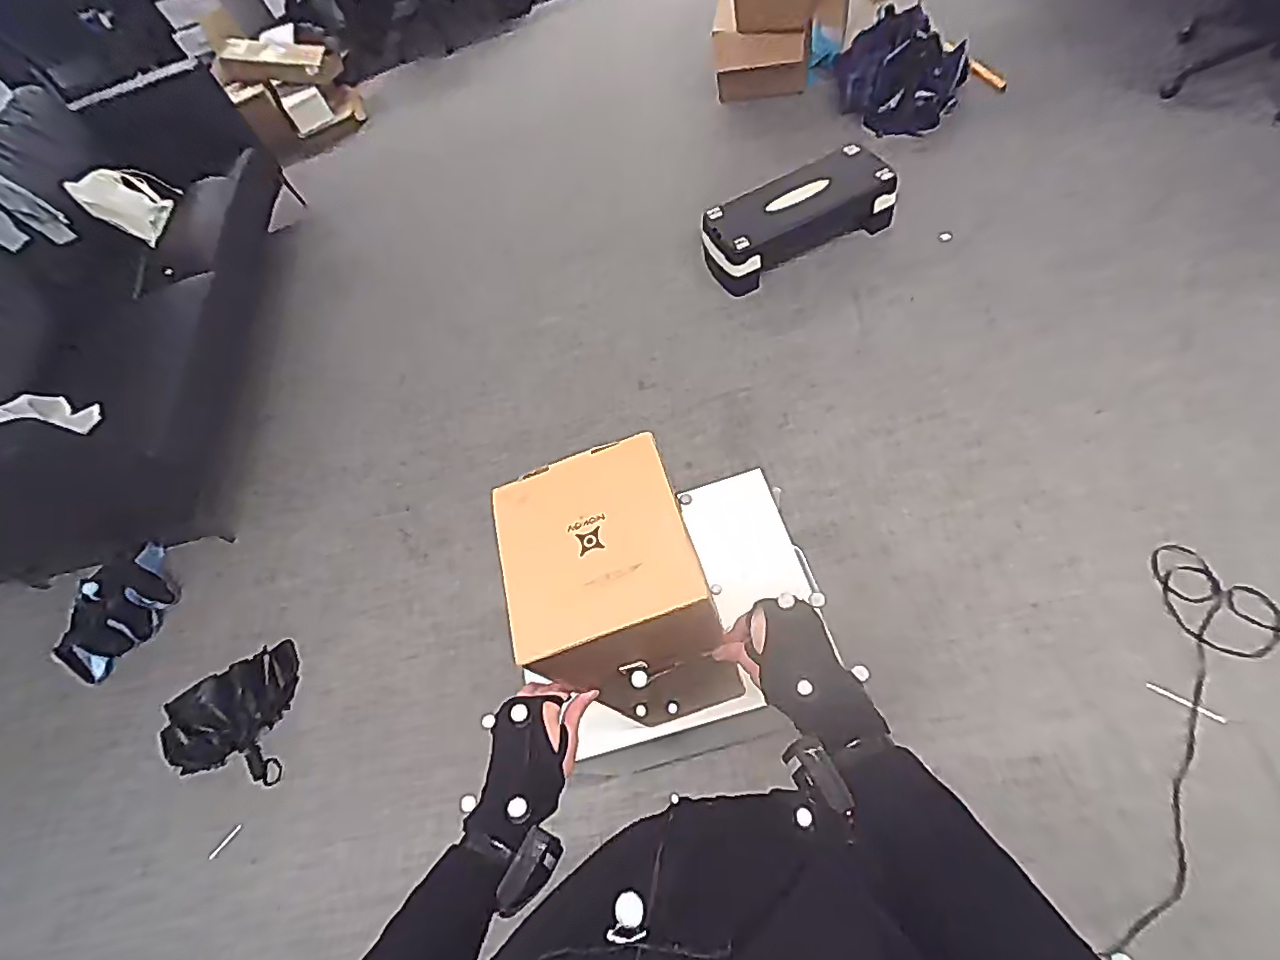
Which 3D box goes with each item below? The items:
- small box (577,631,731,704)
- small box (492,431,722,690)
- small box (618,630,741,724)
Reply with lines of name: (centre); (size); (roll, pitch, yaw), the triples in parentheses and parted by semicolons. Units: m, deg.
small box: (0.007, 0.167, 0.679); (0.168, 0.176, 0.179); (-20, 56, 2)
small box: (-0.027, 0.087, 0.541); (0.168, 0.176, 0.179); (-21, 58, 3)
small box: (0.044, 0.249, 0.818); (0.168, 0.176, 0.179); (-21, 58, 2)
